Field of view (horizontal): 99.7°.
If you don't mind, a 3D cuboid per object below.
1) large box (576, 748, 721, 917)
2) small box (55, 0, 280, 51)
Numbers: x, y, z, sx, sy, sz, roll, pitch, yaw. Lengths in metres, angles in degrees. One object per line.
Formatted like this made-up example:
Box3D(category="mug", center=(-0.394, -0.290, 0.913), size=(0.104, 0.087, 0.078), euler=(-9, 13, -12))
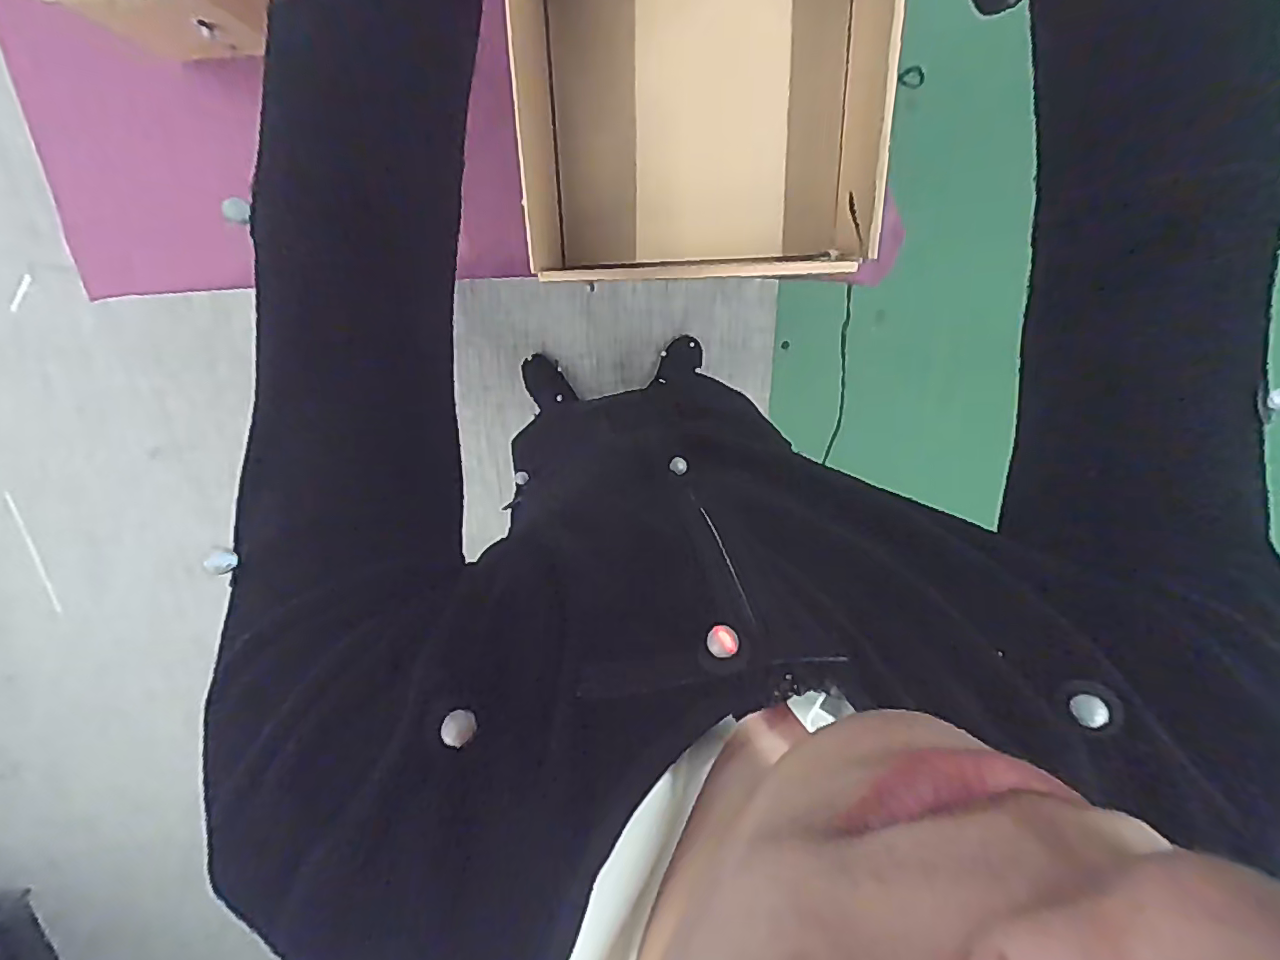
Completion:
Box3D(category="large box", center=(0.034, 1.265, 1.958), size=(0.408, 0.320, 0.320), euler=(-32, 105, 12))
Box3D(category="small box", center=(-0.565, -0.635, 0.633), size=(0.168, 0.176, 0.179), euler=(-1, 109, 2))
